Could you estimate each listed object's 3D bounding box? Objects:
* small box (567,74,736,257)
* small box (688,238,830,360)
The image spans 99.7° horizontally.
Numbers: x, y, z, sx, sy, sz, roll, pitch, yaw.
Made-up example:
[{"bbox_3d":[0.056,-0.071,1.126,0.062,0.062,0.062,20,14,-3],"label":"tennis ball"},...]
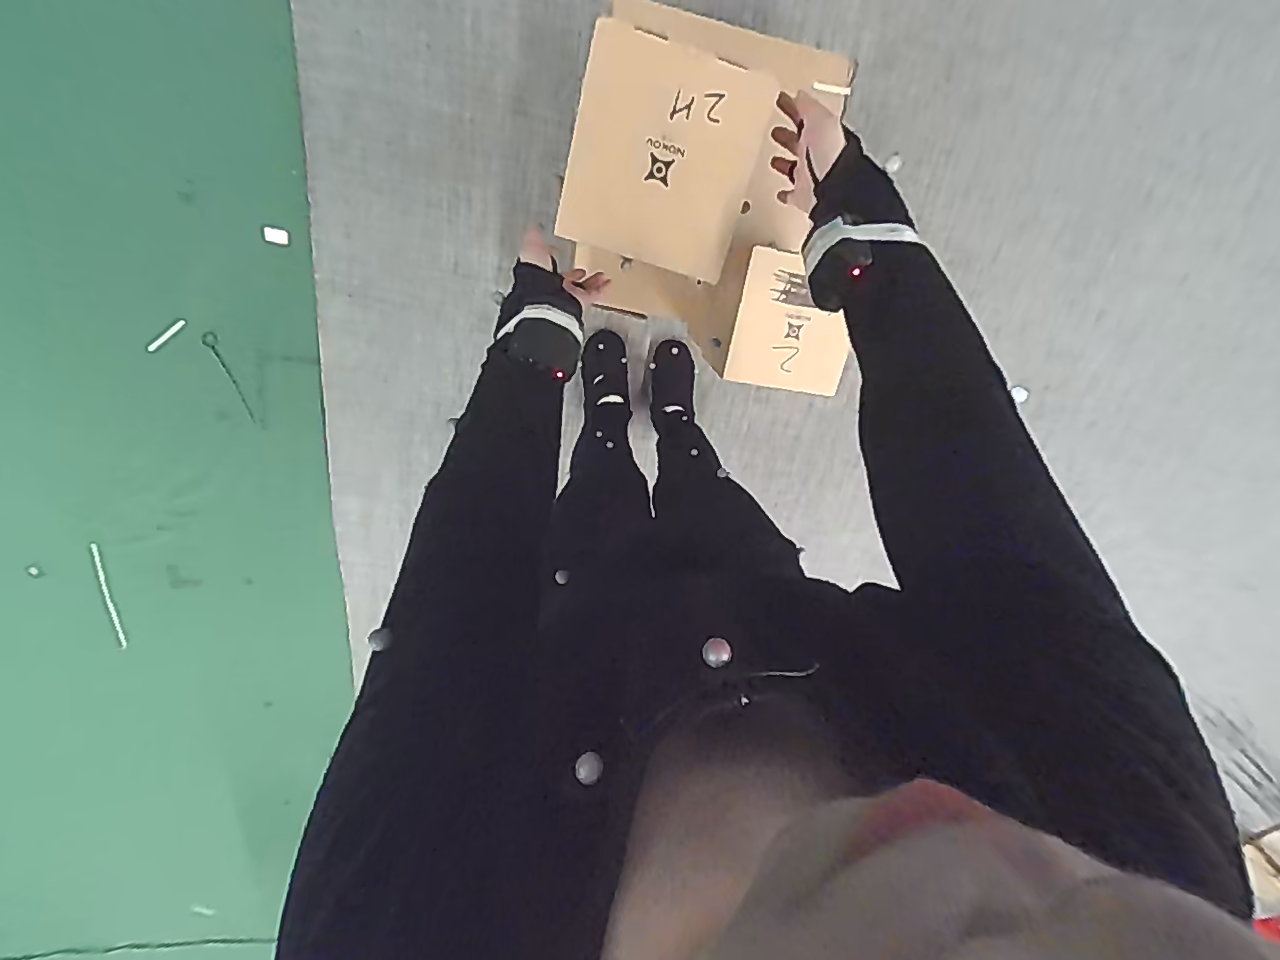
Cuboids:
[{"bbox_3d":[0.009,-0.390,0.703,0.179,0.176,0.168,8,113,-4],"label":"small box"},{"bbox_3d":[0.193,-0.316,0.931,0.179,0.176,0.168,6,113,-7],"label":"small box"}]
